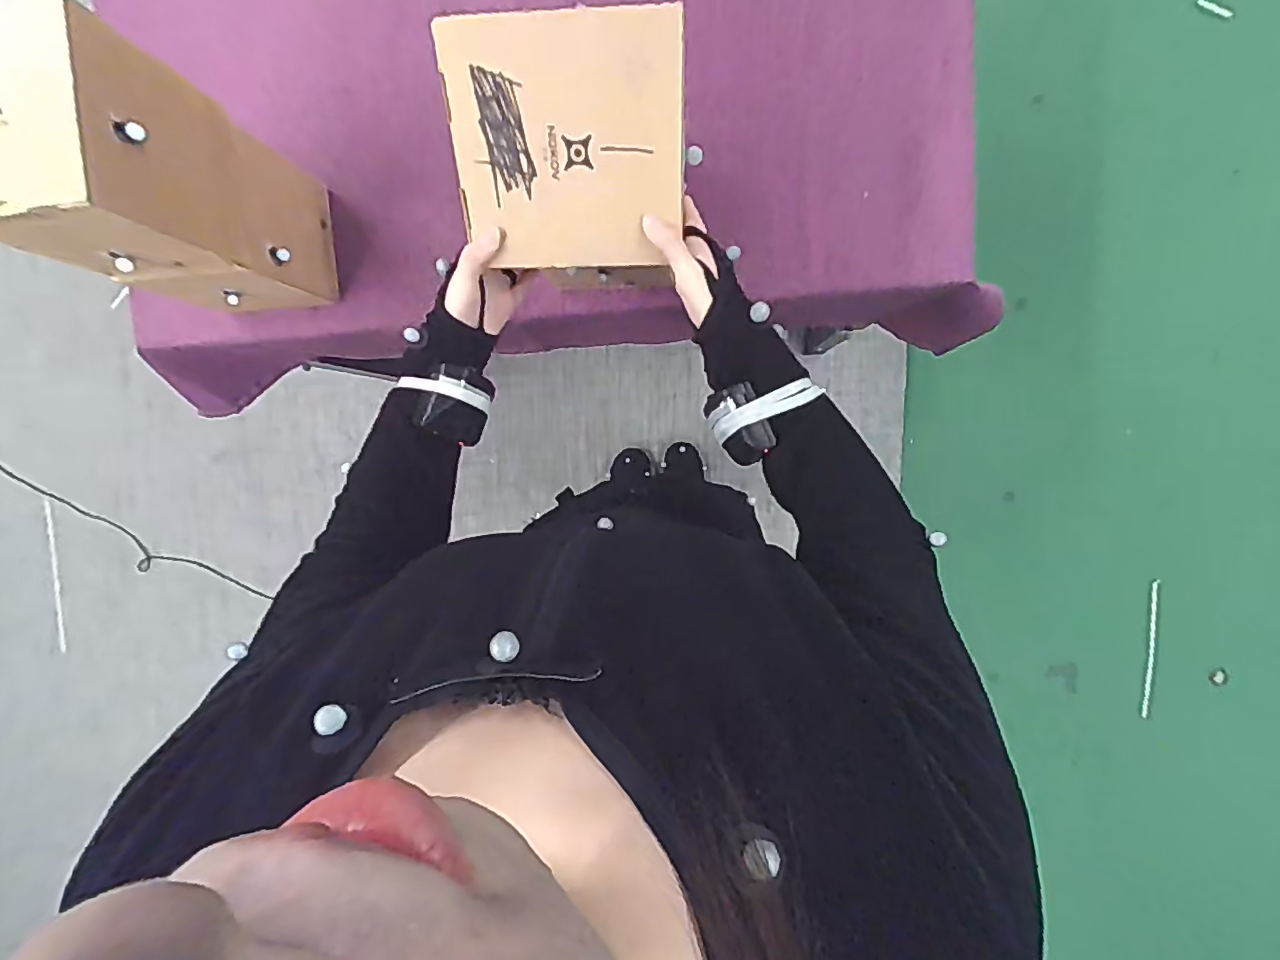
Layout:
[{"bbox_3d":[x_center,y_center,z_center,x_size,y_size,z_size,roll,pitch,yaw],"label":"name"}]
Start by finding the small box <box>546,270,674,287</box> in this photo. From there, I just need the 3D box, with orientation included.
[{"bbox_3d":[-0.040,-0.343,0.666,0.168,0.176,0.179,0,95,4],"label":"small box"}]

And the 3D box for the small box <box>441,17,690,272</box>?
[{"bbox_3d":[-0.046,-0.285,0.478,0.179,0.176,0.168,1,122,4],"label":"small box"}]

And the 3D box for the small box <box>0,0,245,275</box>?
[{"bbox_3d":[-0.541,-0.322,0.540,0.168,0.176,0.179,-3,95,5],"label":"small box"}]
